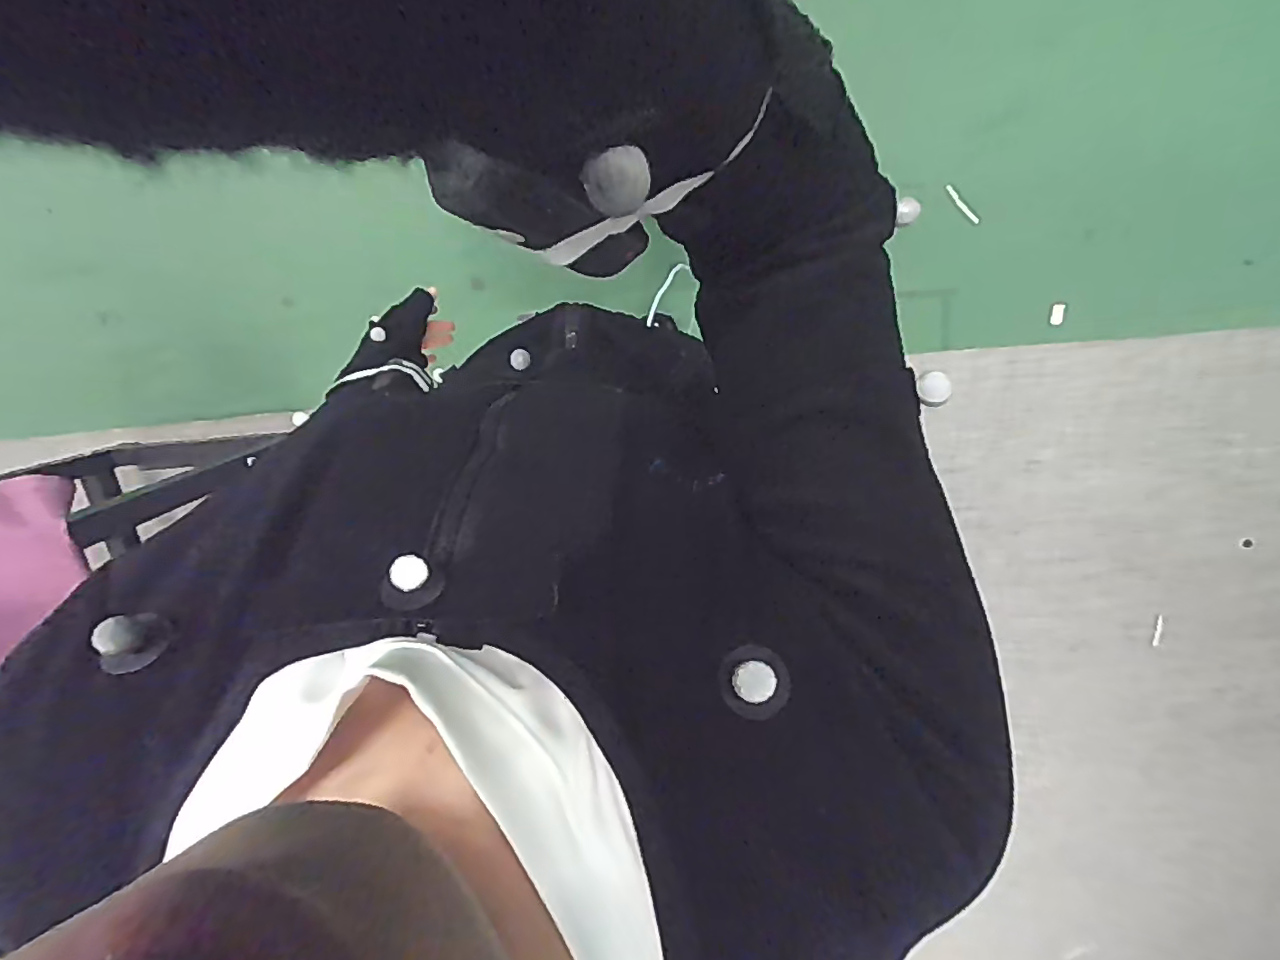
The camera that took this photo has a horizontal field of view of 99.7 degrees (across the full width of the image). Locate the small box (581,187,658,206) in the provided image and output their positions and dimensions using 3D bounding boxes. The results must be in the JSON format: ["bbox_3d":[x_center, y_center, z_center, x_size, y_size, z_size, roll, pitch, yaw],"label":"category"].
[{"bbox_3d":[-0.046,-0.721,1.196,0.168,0.176,0.179,-2,108,3],"label":"small box"}]

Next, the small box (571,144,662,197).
[{"bbox_3d":[-0.049,-0.666,1.043,0.168,0.176,0.179,-5,108,3],"label":"small box"}]
